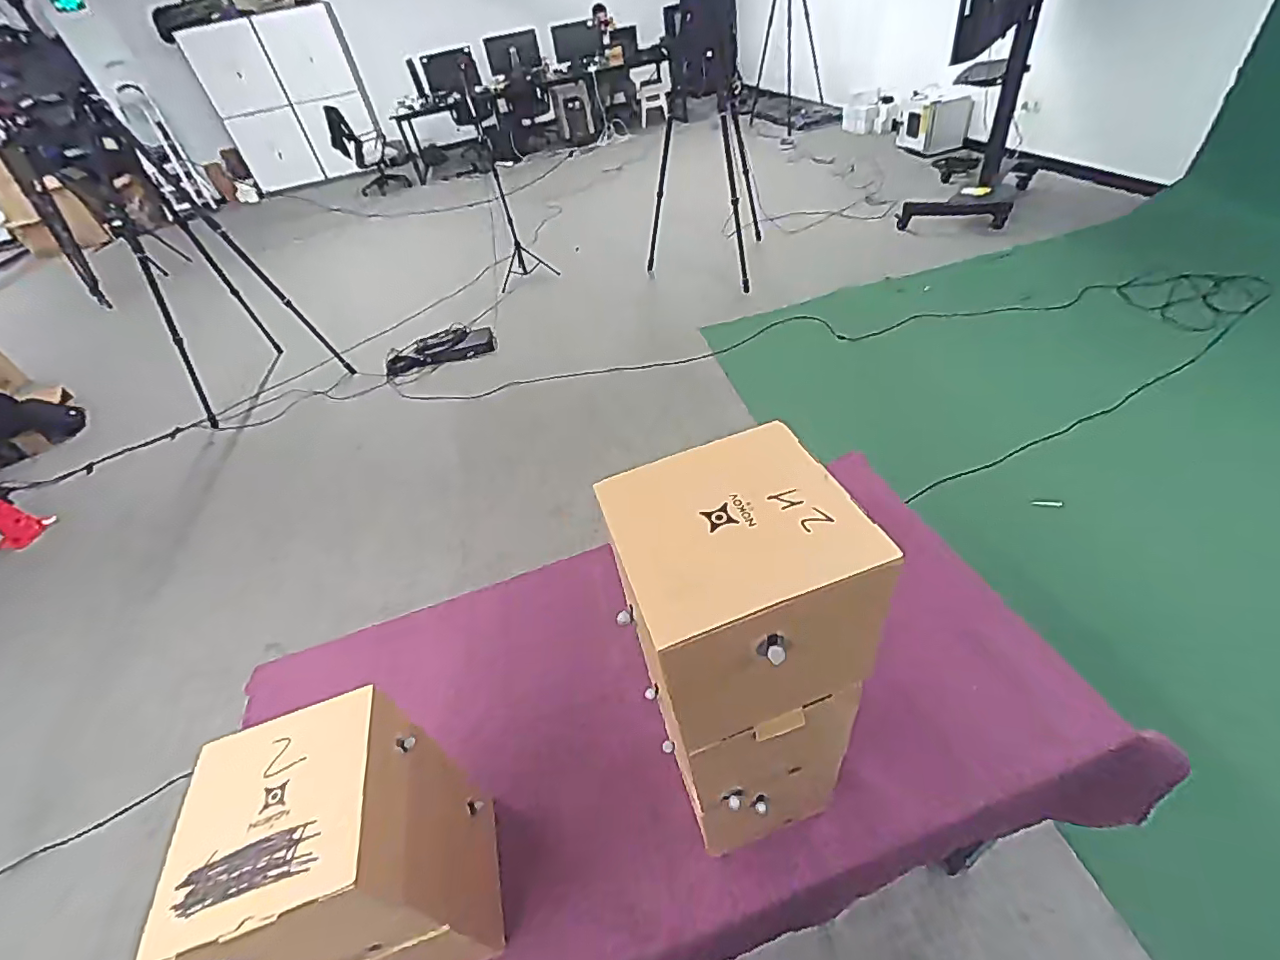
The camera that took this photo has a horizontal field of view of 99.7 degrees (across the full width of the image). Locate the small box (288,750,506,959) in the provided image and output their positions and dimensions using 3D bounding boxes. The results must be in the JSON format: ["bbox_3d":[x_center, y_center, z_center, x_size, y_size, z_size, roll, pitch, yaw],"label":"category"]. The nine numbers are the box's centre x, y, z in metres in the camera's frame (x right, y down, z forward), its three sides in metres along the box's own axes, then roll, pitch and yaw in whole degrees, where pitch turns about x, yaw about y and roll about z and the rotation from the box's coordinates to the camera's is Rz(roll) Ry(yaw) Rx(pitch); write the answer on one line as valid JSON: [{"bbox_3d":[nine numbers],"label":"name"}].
[{"bbox_3d":[-0.268,0.458,0.631,0.168,0.176,0.179,-18,44,-6],"label":"small box"}]

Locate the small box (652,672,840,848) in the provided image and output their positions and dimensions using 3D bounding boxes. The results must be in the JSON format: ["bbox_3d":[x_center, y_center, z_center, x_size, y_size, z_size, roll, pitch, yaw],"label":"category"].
[{"bbox_3d":[0.127,0.320,0.681,0.168,0.176,0.179,-20,42,-5],"label":"small box"}]

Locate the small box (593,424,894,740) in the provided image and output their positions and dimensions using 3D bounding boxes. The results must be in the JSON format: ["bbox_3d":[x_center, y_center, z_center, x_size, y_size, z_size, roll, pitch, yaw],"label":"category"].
[{"bbox_3d":[0.078,0.087,0.454,0.179,0.176,0.168,-18,44,-6],"label":"small box"}]

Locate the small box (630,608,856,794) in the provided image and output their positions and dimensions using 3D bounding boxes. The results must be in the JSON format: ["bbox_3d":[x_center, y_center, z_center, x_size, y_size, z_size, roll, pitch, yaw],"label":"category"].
[{"bbox_3d":[0.101,0.202,0.570,0.168,0.176,0.179,-19,43,-7],"label":"small box"}]
